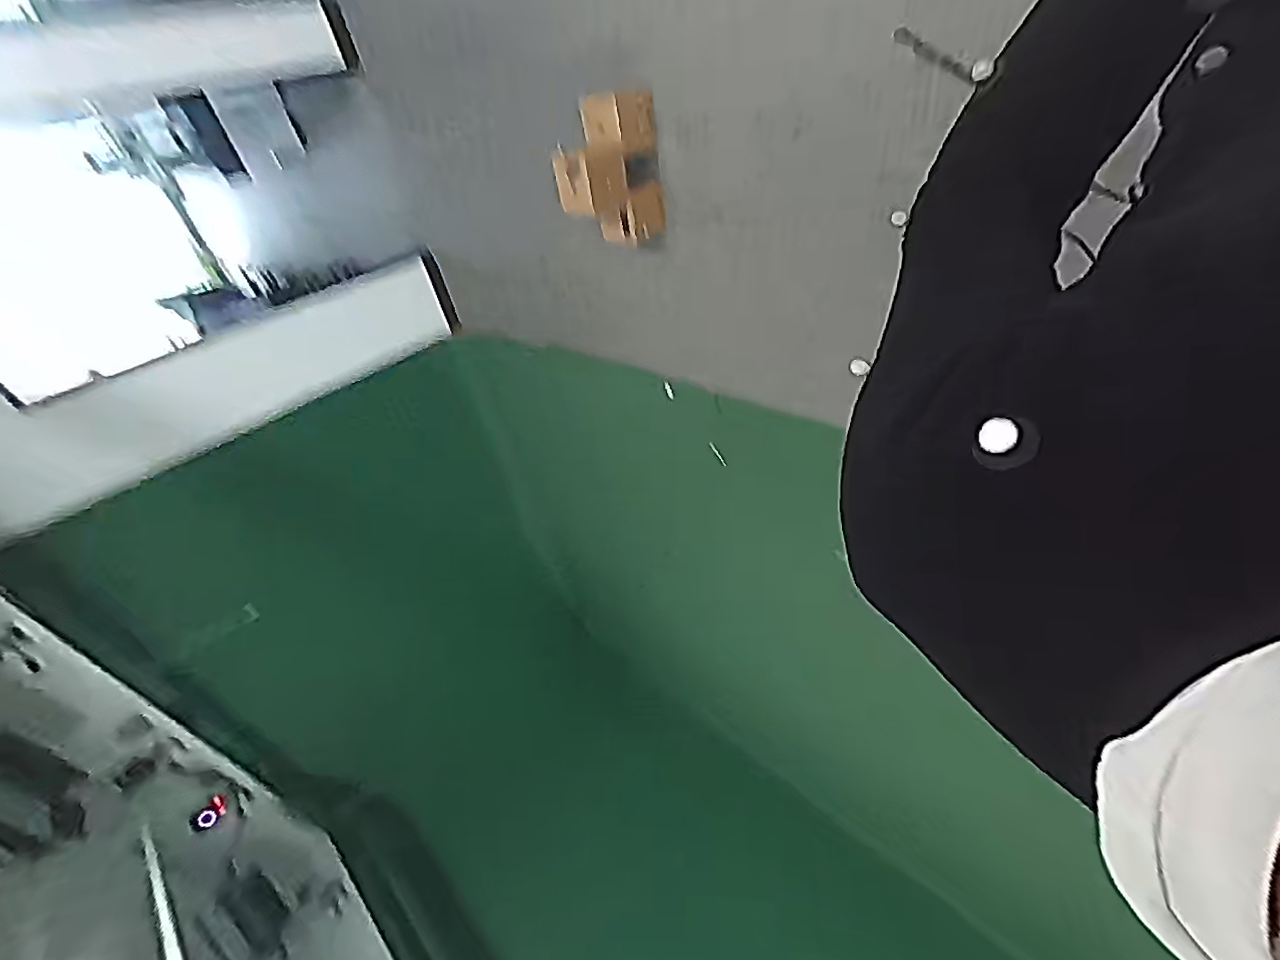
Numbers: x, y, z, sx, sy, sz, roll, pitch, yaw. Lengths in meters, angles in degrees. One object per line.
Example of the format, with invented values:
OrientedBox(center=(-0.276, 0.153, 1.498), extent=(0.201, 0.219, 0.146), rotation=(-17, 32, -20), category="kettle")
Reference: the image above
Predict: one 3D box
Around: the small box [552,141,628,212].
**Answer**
OrientedBox(center=(-0.160, -1.012, 1.792), extent=(0.168, 0.176, 0.179), rotation=(26, 141, 36), category="small box")

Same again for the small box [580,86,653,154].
OrientedBox(center=(-0.069, -1.197, 1.801), extent=(0.179, 0.176, 0.168), rotation=(25, 140, 37), category="small box")
